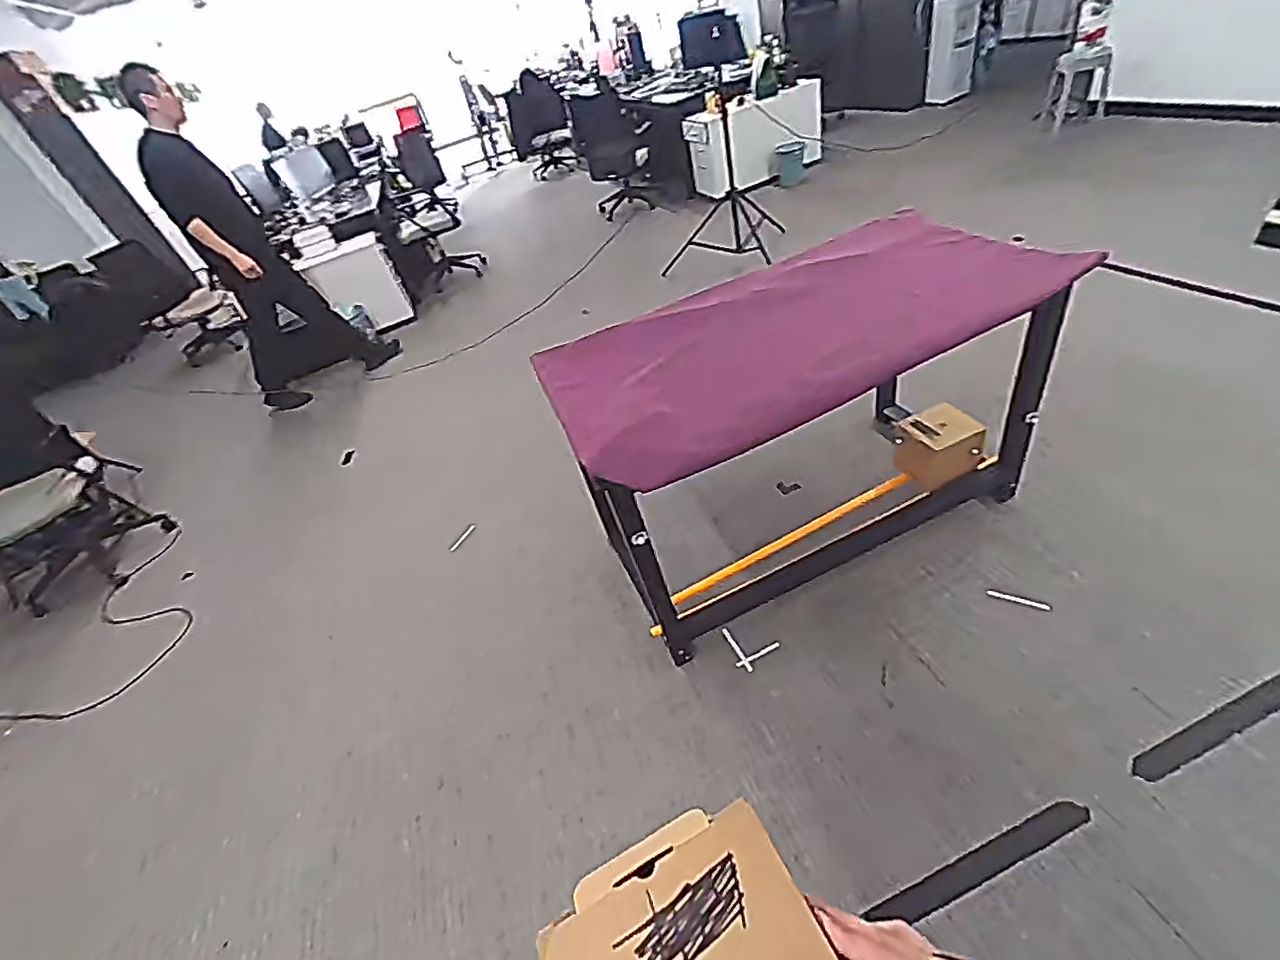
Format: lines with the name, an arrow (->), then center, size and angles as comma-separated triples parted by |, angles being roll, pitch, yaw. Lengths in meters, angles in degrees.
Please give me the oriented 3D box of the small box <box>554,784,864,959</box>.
small box -> 0.063, 0.350, 0.376 | 0.168, 0.176, 0.179 | -27, 55, -9
